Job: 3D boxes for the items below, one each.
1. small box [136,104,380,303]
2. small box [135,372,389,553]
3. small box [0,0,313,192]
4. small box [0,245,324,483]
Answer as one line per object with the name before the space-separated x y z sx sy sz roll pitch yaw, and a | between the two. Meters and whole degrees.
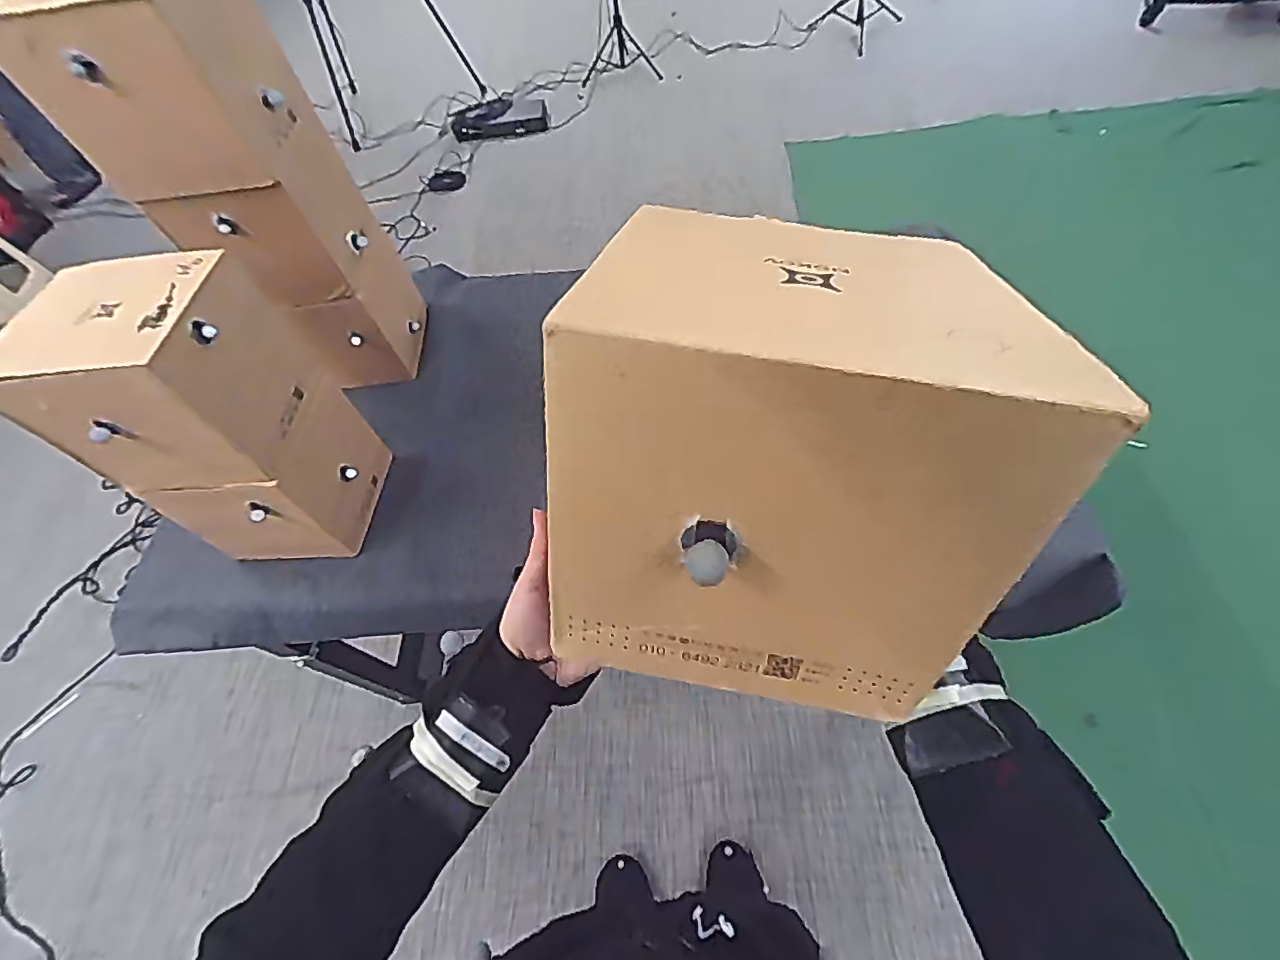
small box | -0.479 -0.352 0.710 0.179 0.176 0.168 -7 60 2
small box | -0.453 -0.016 0.688 0.179 0.176 0.168 -2 56 6
small box | -0.491 -0.428 0.565 0.179 0.176 0.168 -5 60 3
small box | -0.474 -0.109 0.555 0.179 0.176 0.168 -6 56 4
